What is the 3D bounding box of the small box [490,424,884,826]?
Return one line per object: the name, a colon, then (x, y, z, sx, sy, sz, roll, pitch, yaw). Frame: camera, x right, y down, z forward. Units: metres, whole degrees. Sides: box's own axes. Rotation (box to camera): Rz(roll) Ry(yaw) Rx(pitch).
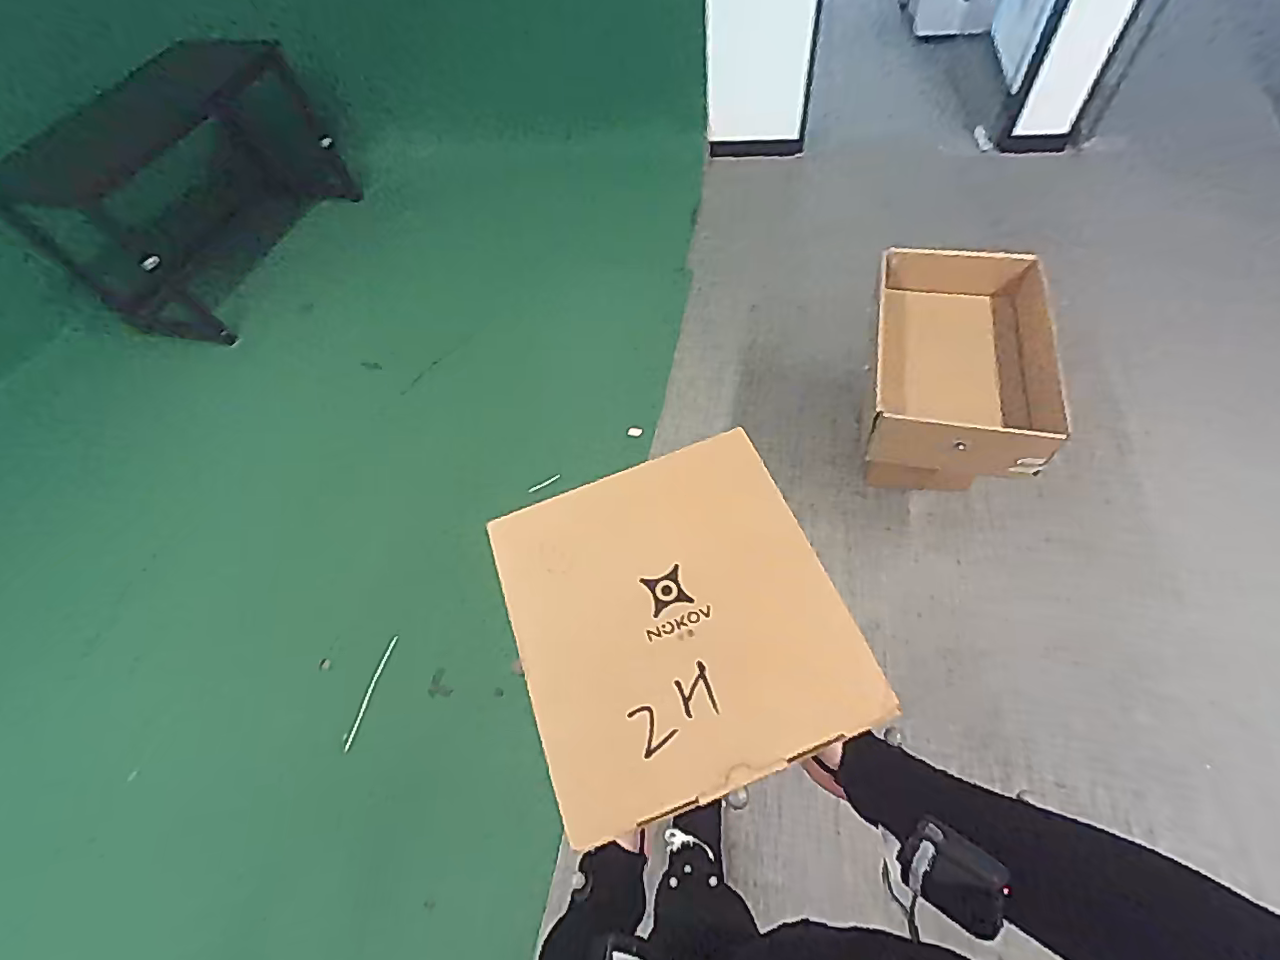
small box: (0.021, 0.098, 0.360, 0.168, 0.176, 0.179, -21, 62, -3)
